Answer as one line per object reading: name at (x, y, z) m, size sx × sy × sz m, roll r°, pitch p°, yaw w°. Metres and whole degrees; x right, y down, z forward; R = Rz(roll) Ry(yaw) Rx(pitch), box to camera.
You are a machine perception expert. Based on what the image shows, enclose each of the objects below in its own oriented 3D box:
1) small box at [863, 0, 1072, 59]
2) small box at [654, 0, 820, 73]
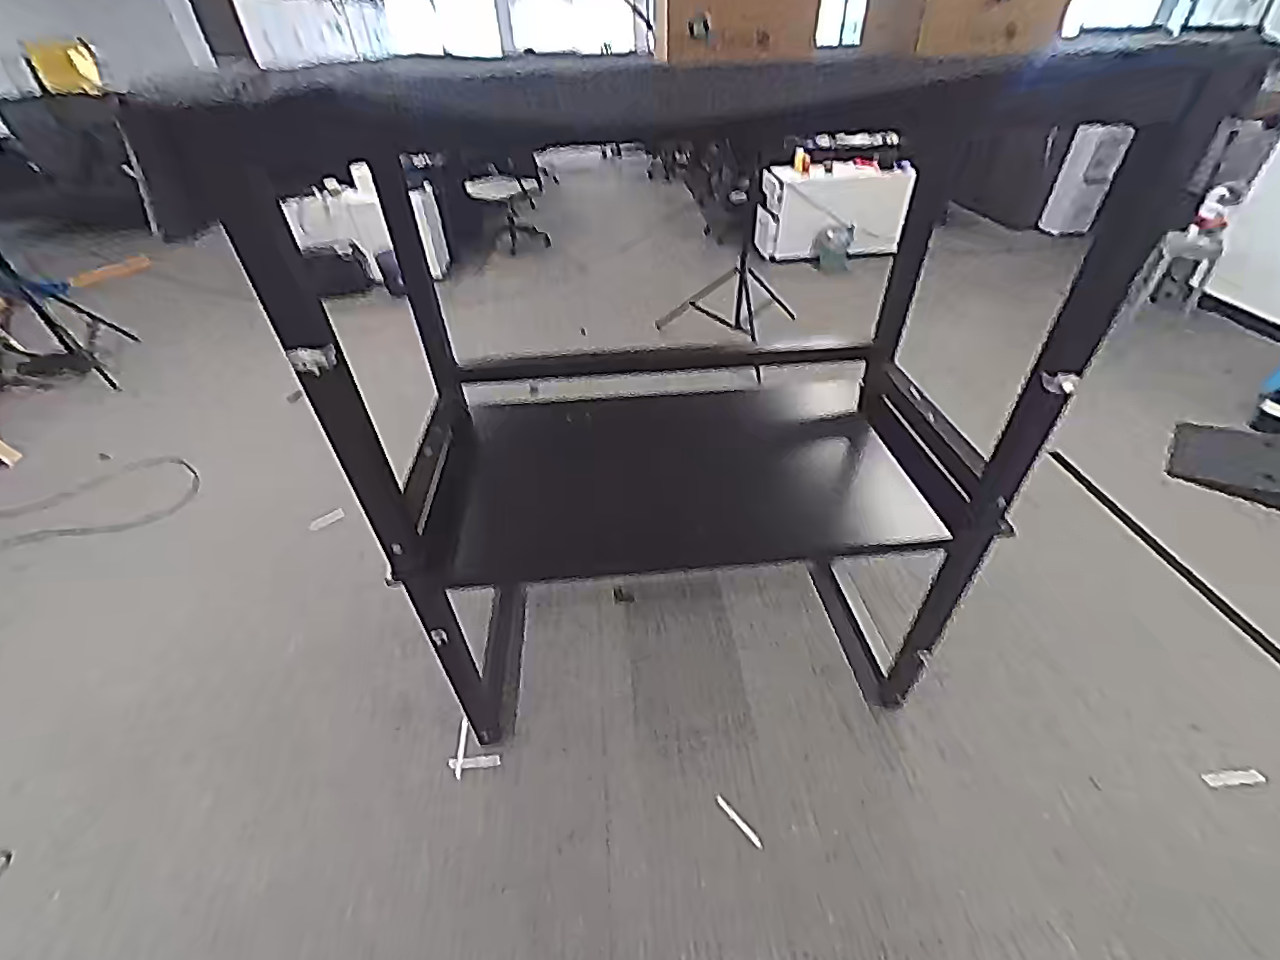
small box at (0.378, -0.591, 0.619) m, size 0.168 × 0.176 × 0.179 m, roll -4°, pitch 39°, yaw -1°
small box at (0.104, -0.570, 0.609) m, size 0.168 × 0.176 × 0.179 m, roll -4°, pitch 37°, yaw -2°
